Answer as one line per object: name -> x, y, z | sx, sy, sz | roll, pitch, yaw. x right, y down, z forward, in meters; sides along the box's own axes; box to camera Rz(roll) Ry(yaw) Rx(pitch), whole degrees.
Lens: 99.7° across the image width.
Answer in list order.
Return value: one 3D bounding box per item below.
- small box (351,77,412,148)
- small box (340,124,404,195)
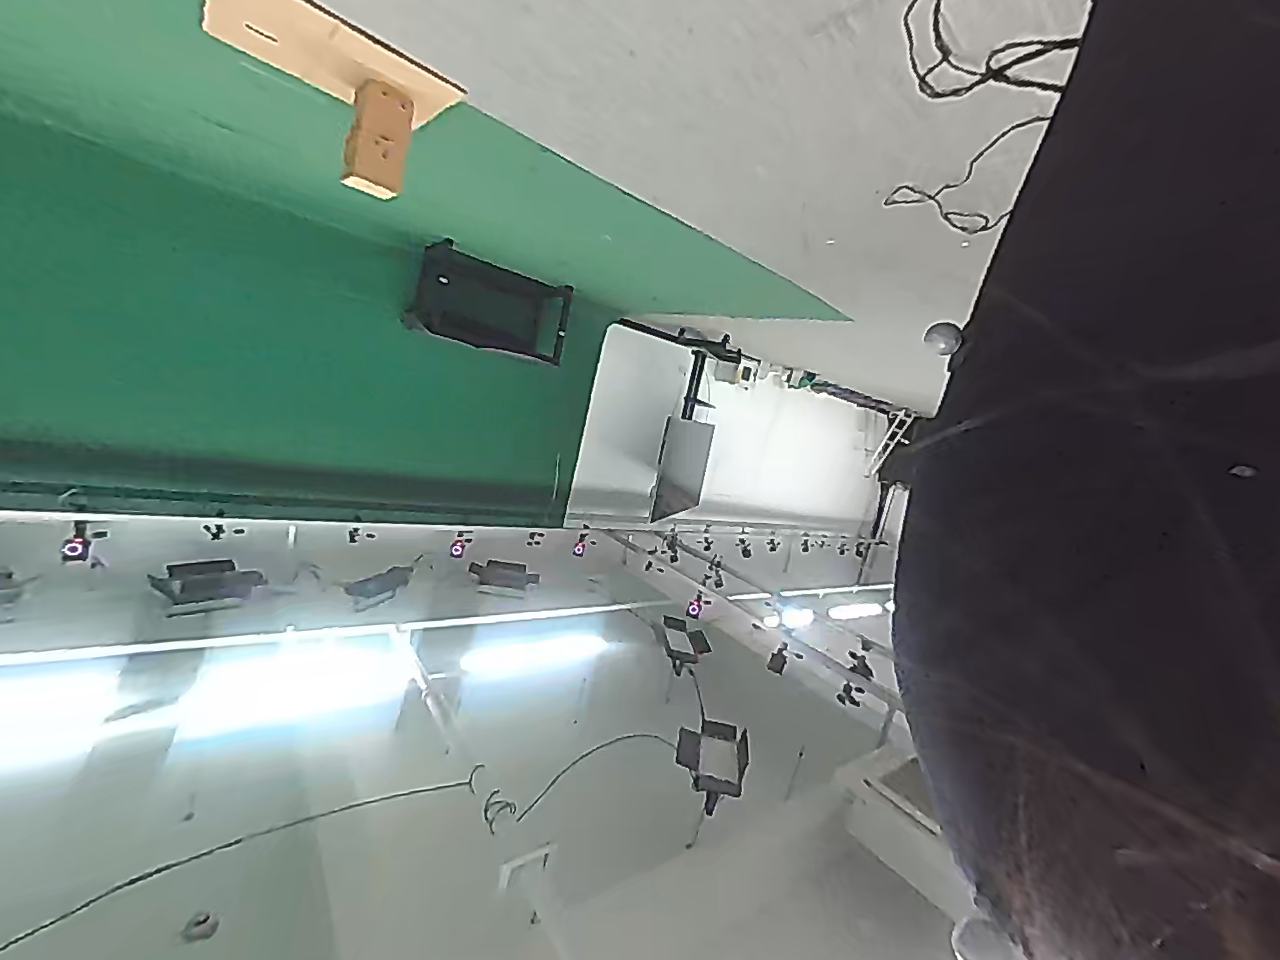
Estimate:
small box -> -0.967, -1.364, 2.023 | 0.168, 0.176, 0.179 | 5, -167, -43
small box -> -1.016, -1.212, 2.052 | 0.168, 0.176, 0.179 | 5, -169, -44
